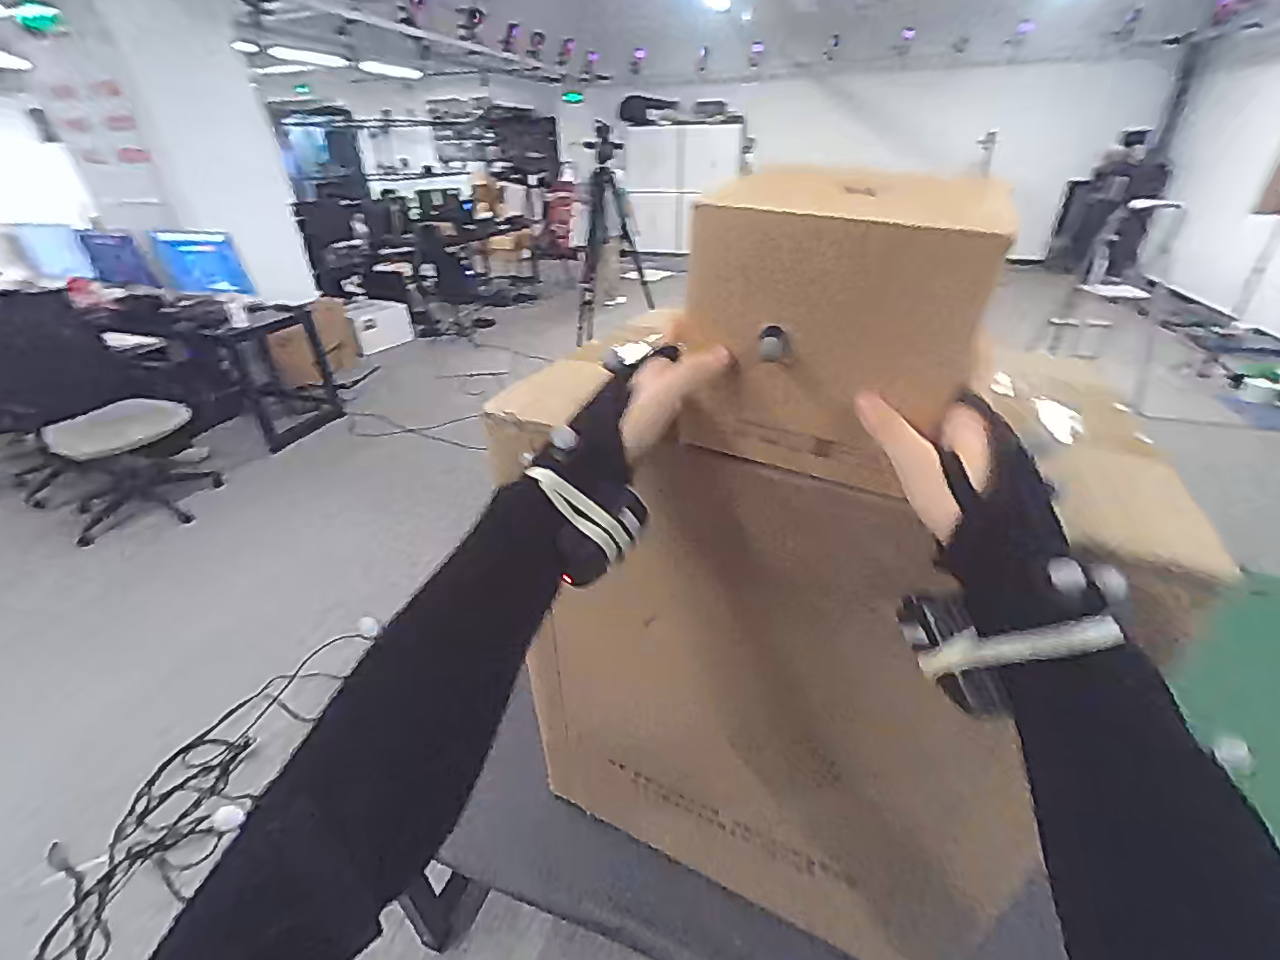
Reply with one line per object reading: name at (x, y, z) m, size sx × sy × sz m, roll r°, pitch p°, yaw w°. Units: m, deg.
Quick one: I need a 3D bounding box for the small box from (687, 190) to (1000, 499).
small box at (0.141, -0.109, 0.397) m, size 0.168 × 0.176 × 0.179 m, roll 16°, pitch 36°, yaw 22°
